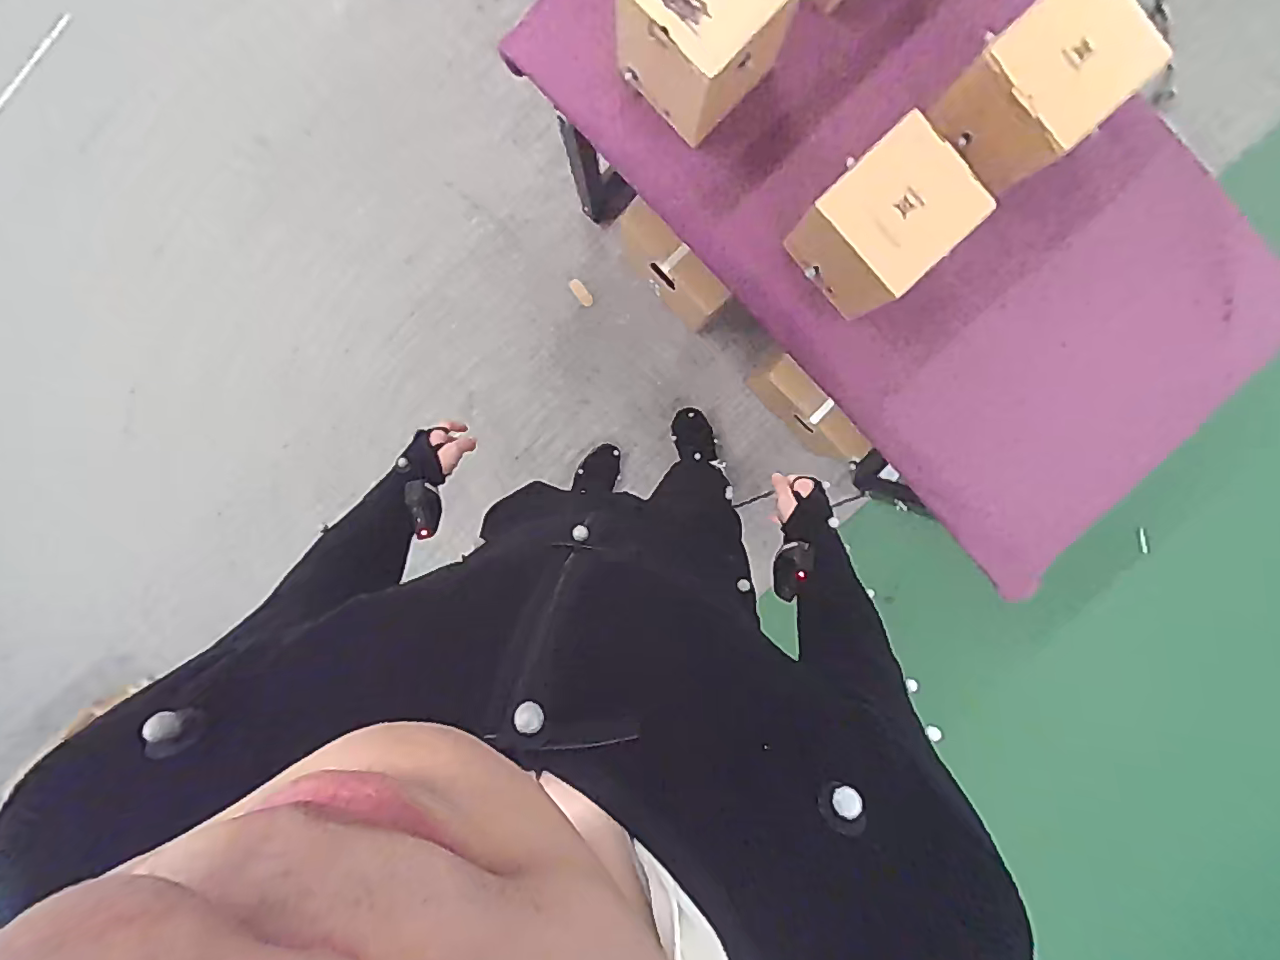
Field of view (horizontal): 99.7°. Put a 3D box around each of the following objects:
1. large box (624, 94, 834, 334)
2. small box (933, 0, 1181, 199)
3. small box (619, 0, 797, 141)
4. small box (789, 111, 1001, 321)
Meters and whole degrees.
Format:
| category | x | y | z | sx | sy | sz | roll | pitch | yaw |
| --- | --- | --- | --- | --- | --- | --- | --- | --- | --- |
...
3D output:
| category | x | y | z | sx | sy | sz | roll | pitch | yaw |
| --- | --- | --- | --- | --- | --- | --- | --- | --- | --- |
| large box | 0.204 | -0.647 | 1.394 | 0.408 | 0.320 | 0.320 | -44 | 96 | 4 |
| small box | 0.550 | -0.532 | 0.742 | 0.179 | 0.176 | 0.168 | -42 | 96 | 6 |
| small box | 0.089 | -0.612 | 0.730 | 0.179 | 0.176 | 0.168 | -45 | 95 | 3 |
| small box | 0.342 | -0.353 | 0.763 | 0.179 | 0.176 | 0.168 | -42 | 94 | 4 |
